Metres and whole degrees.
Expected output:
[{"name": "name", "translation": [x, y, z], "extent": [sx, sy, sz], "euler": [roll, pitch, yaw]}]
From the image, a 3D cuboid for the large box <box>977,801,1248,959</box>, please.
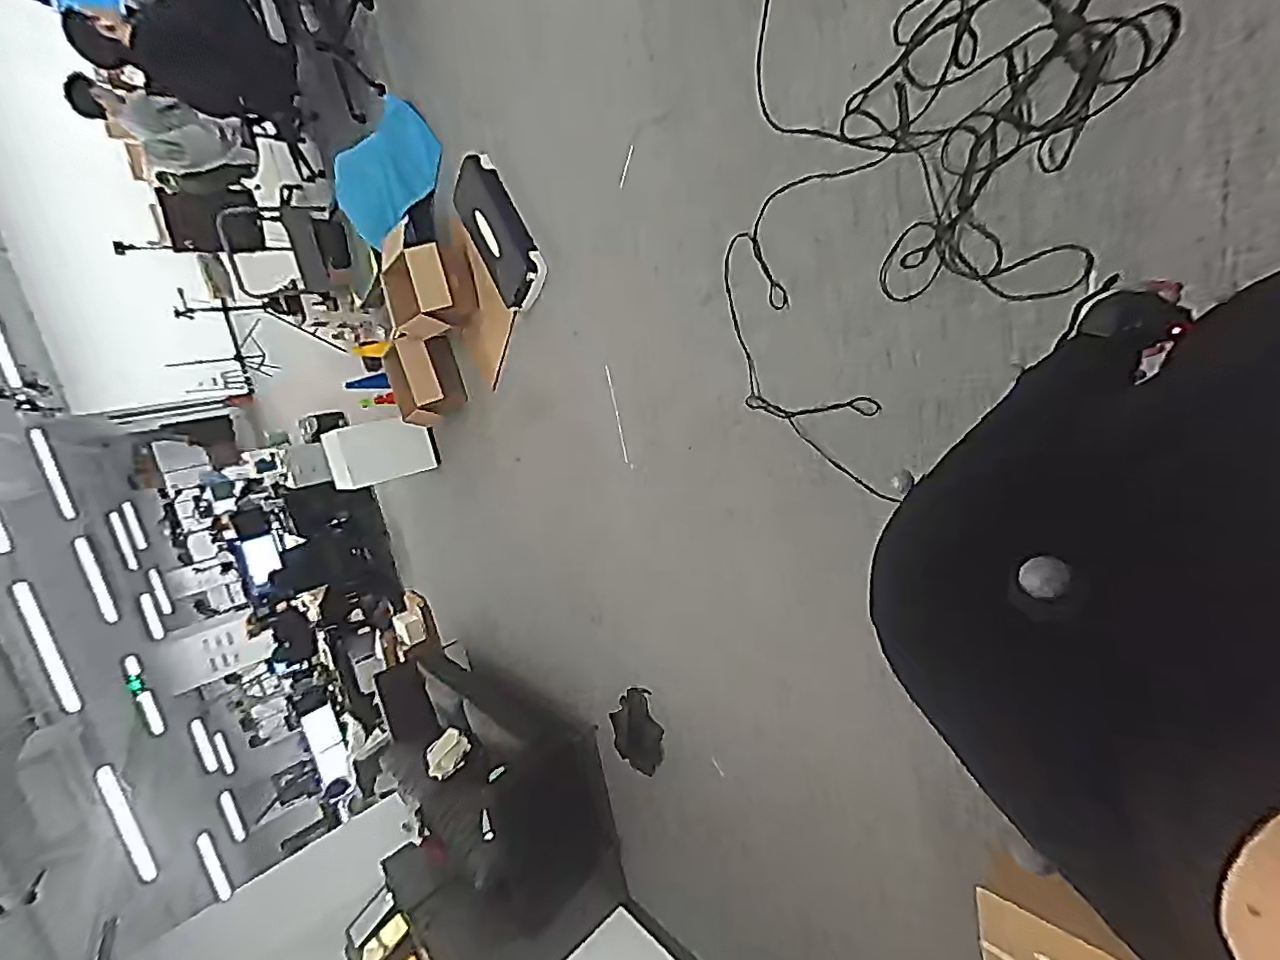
[{"name": "large box", "translation": [1.038, 1.019, 1.196], "extent": [0.408, 0.320, 0.320], "euler": [2, 107, 51]}]
